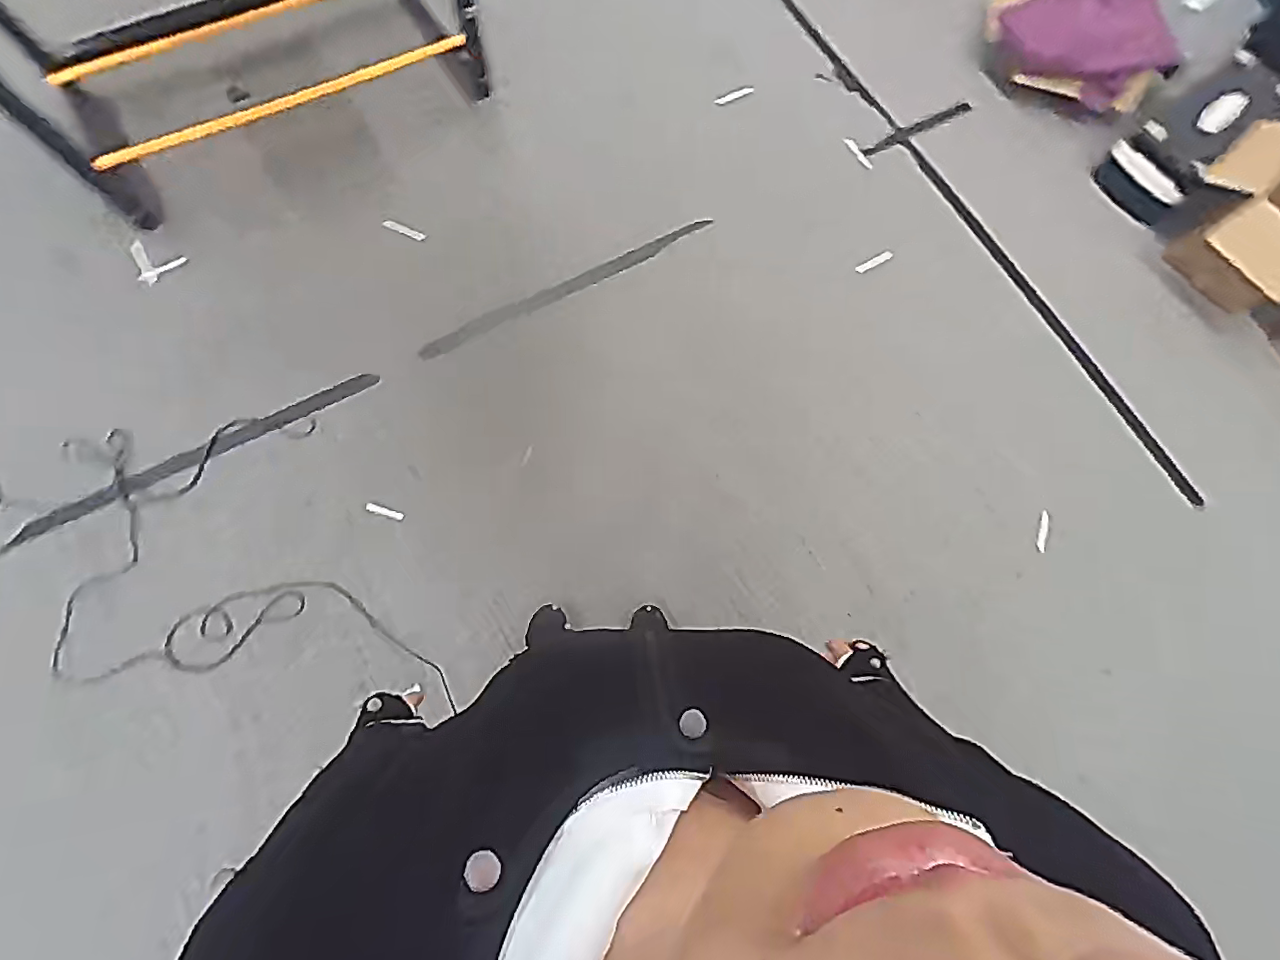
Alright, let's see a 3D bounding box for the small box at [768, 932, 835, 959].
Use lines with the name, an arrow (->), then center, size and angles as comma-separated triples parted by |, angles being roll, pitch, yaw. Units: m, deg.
small box -> 0.271, 0.845, 0.807 | 0.168, 0.176, 0.179 | -28, 78, -13
